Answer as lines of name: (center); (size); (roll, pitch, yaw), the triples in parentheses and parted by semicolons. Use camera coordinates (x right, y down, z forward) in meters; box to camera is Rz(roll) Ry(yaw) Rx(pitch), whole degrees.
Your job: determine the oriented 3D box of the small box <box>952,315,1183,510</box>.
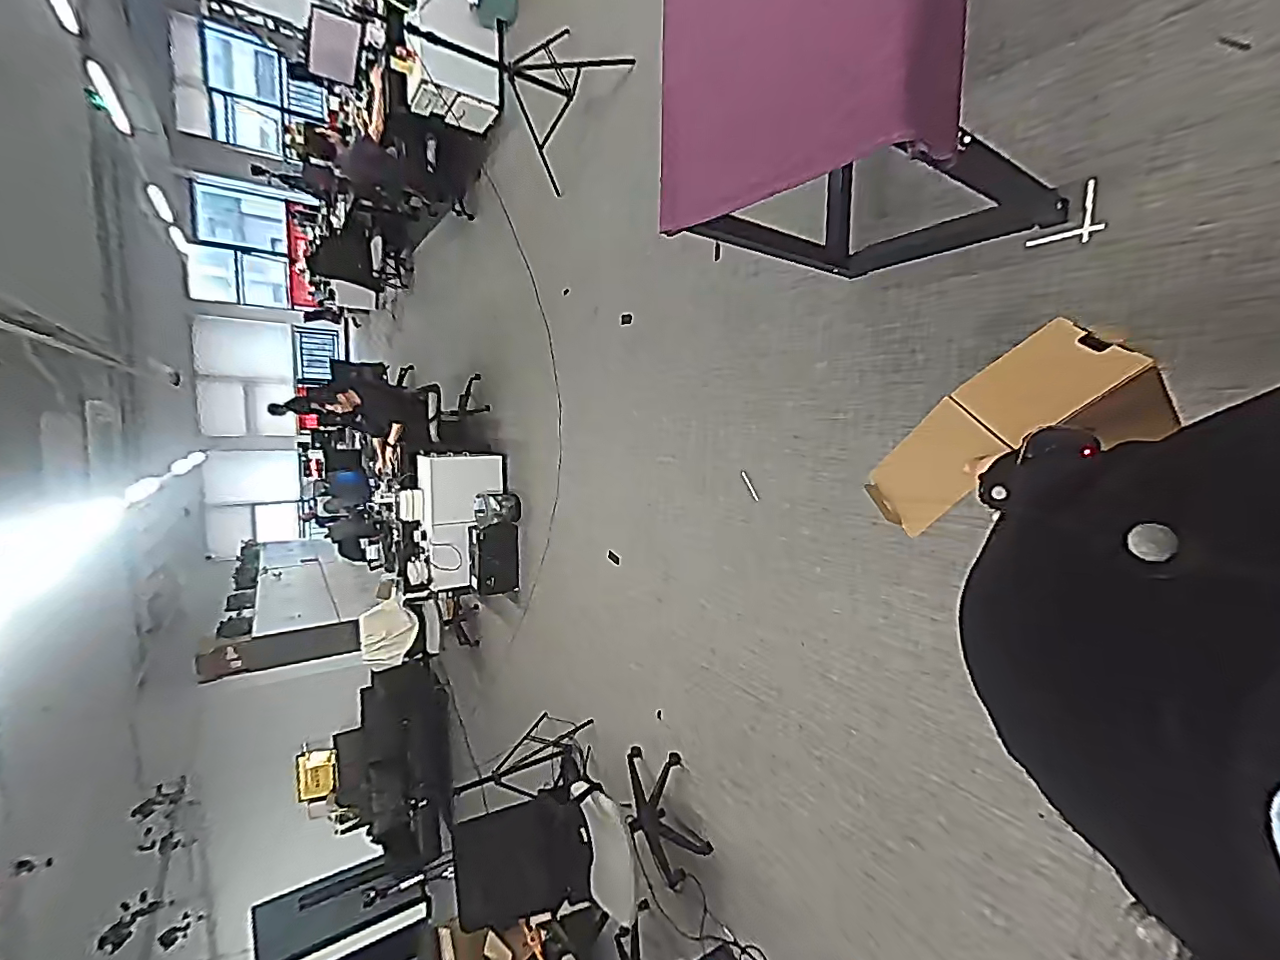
small box: (0.595, -0.090, 0.762); (0.179, 0.176, 0.168); (-40, 29, 22)
